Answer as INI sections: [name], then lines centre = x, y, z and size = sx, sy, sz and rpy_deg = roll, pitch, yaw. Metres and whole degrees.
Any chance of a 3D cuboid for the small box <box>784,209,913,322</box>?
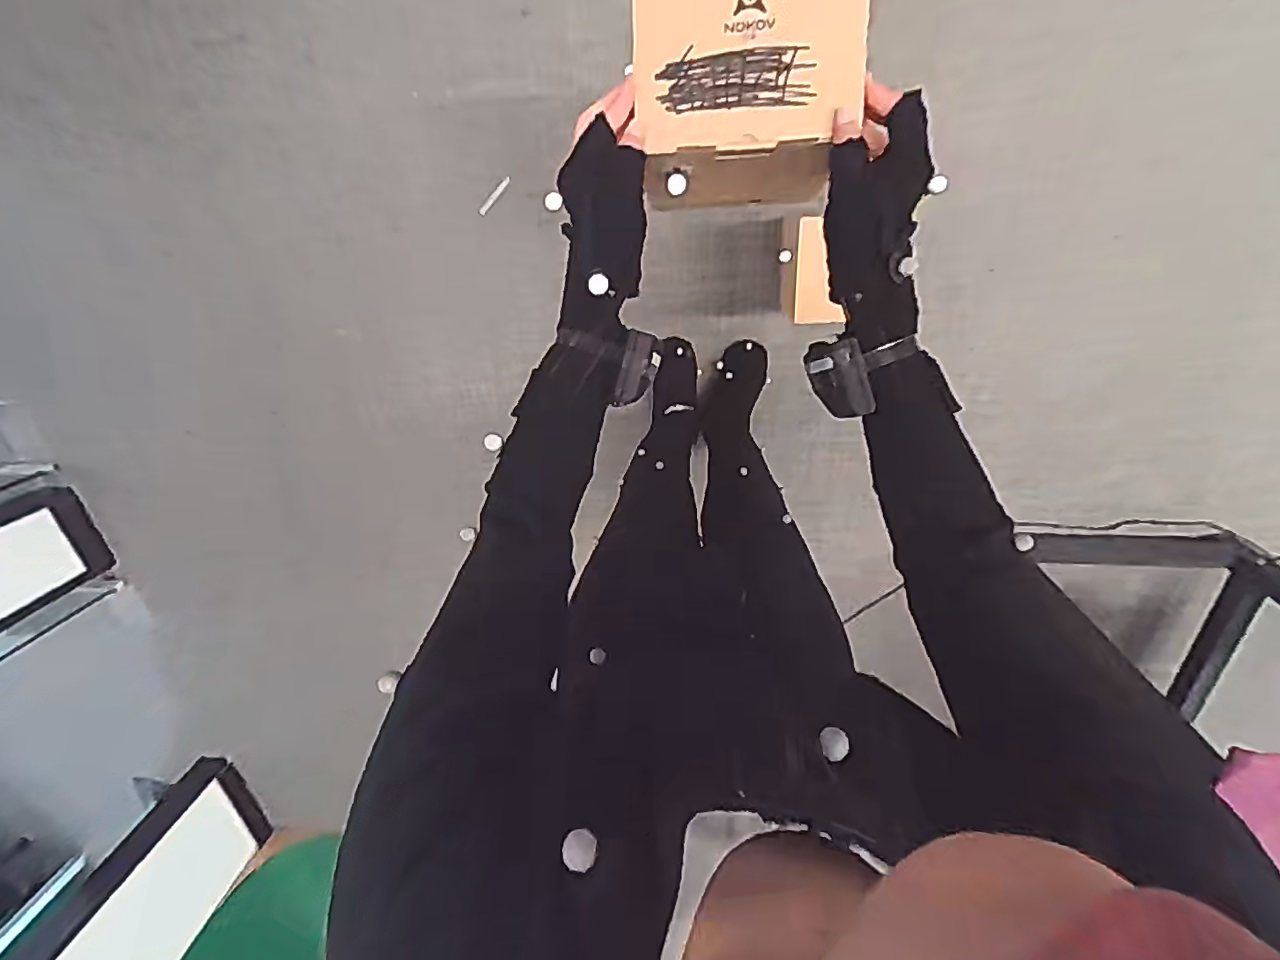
[small box]
centre = 0.352, -0.376, 0.952
size = 0.179, 0.176, 0.168
rpy_deg = -1, 115, 7
